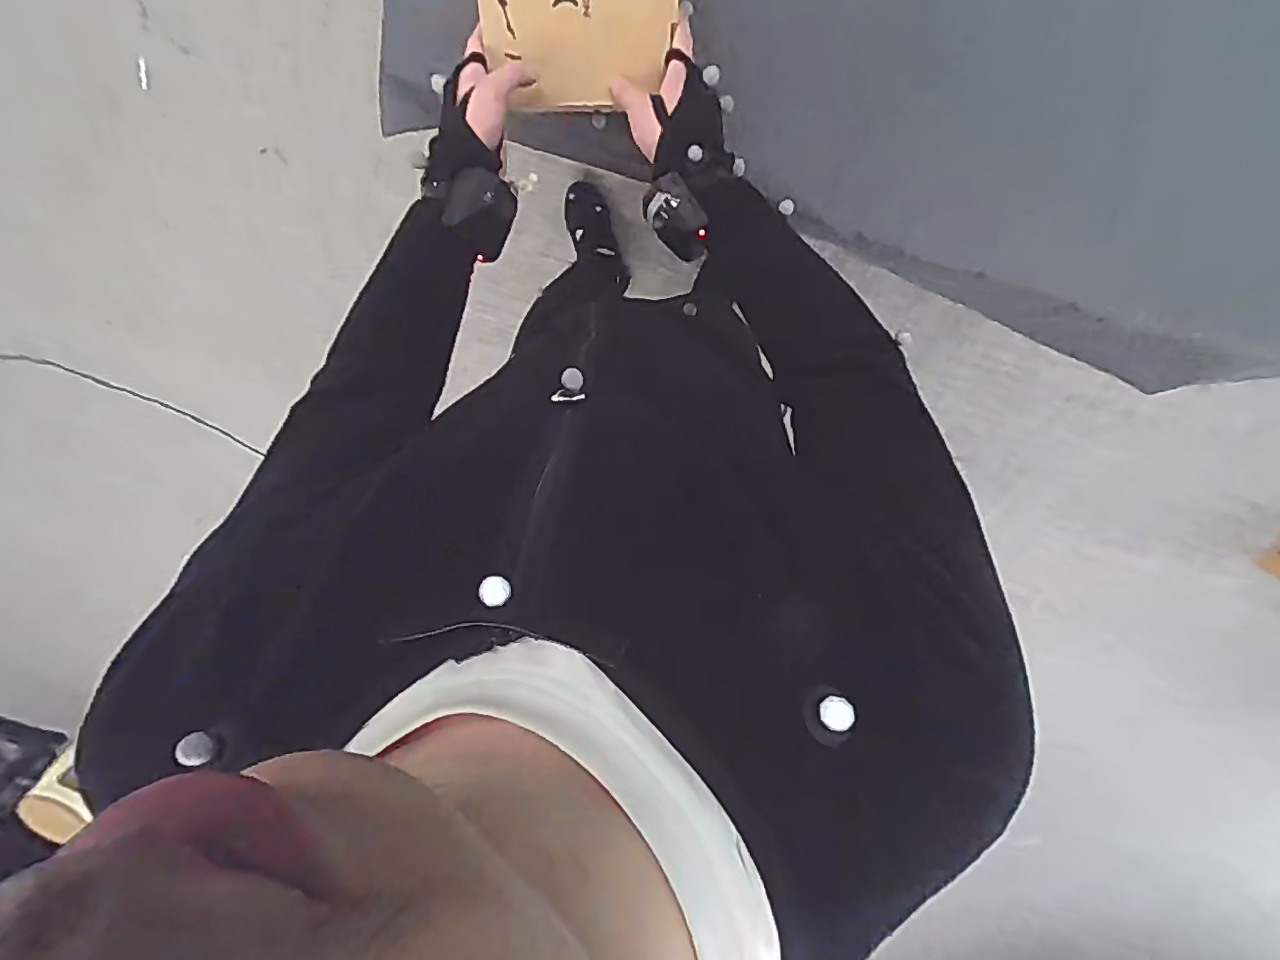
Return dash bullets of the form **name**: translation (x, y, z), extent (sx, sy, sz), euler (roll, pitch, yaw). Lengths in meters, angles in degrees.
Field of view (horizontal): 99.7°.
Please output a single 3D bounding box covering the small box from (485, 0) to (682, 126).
- **small box**: translation (-0.047, -0.459, 0.545), extent (0.179, 0.176, 0.168), euler (2, 122, 2)
